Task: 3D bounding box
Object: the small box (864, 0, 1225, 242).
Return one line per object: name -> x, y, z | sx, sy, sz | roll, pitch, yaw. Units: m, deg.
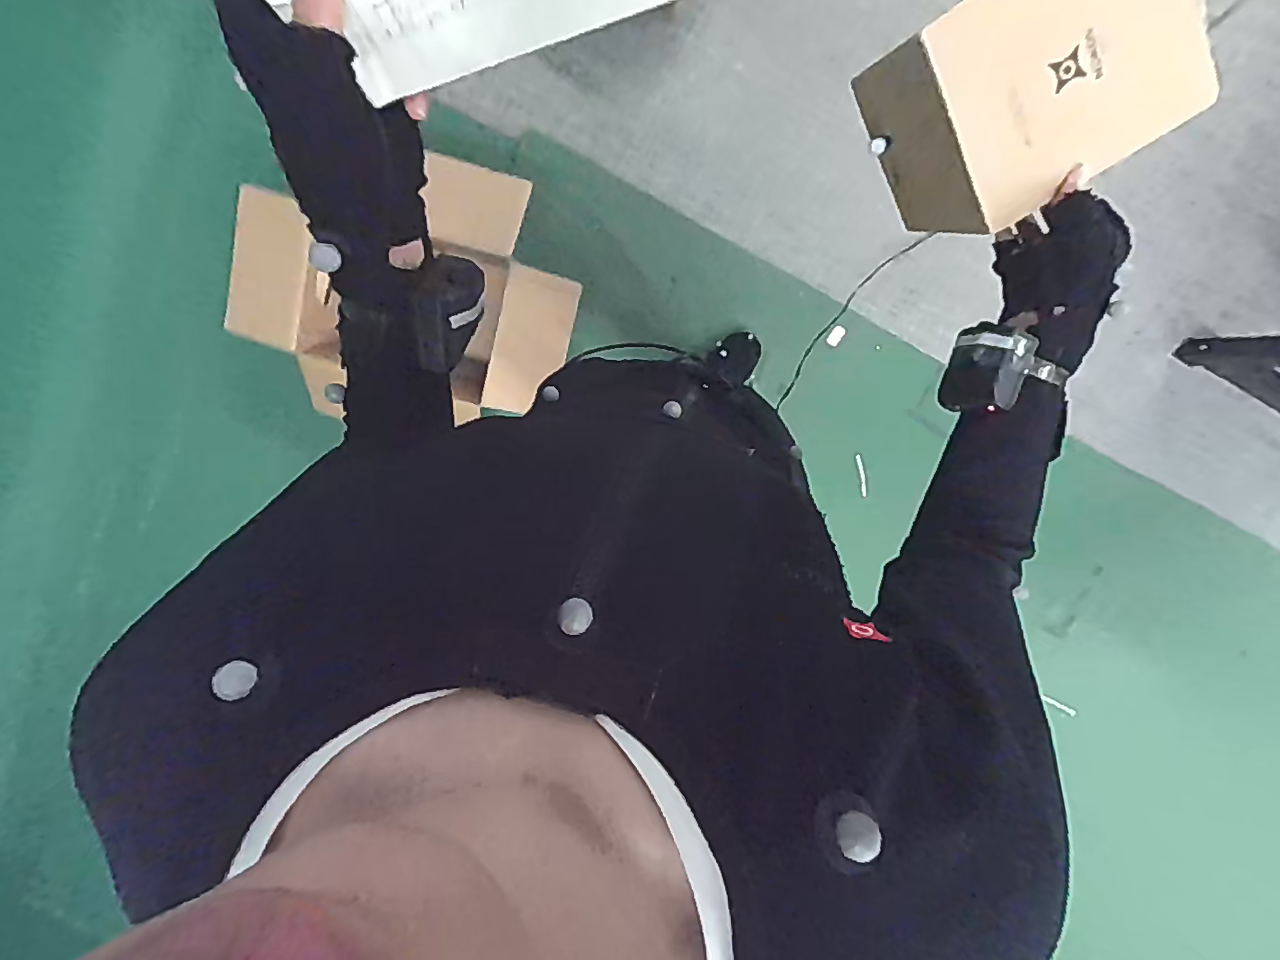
small box -> 0.331, -0.336, 0.474 | 0.179, 0.176, 0.168 | -29, 112, 14
